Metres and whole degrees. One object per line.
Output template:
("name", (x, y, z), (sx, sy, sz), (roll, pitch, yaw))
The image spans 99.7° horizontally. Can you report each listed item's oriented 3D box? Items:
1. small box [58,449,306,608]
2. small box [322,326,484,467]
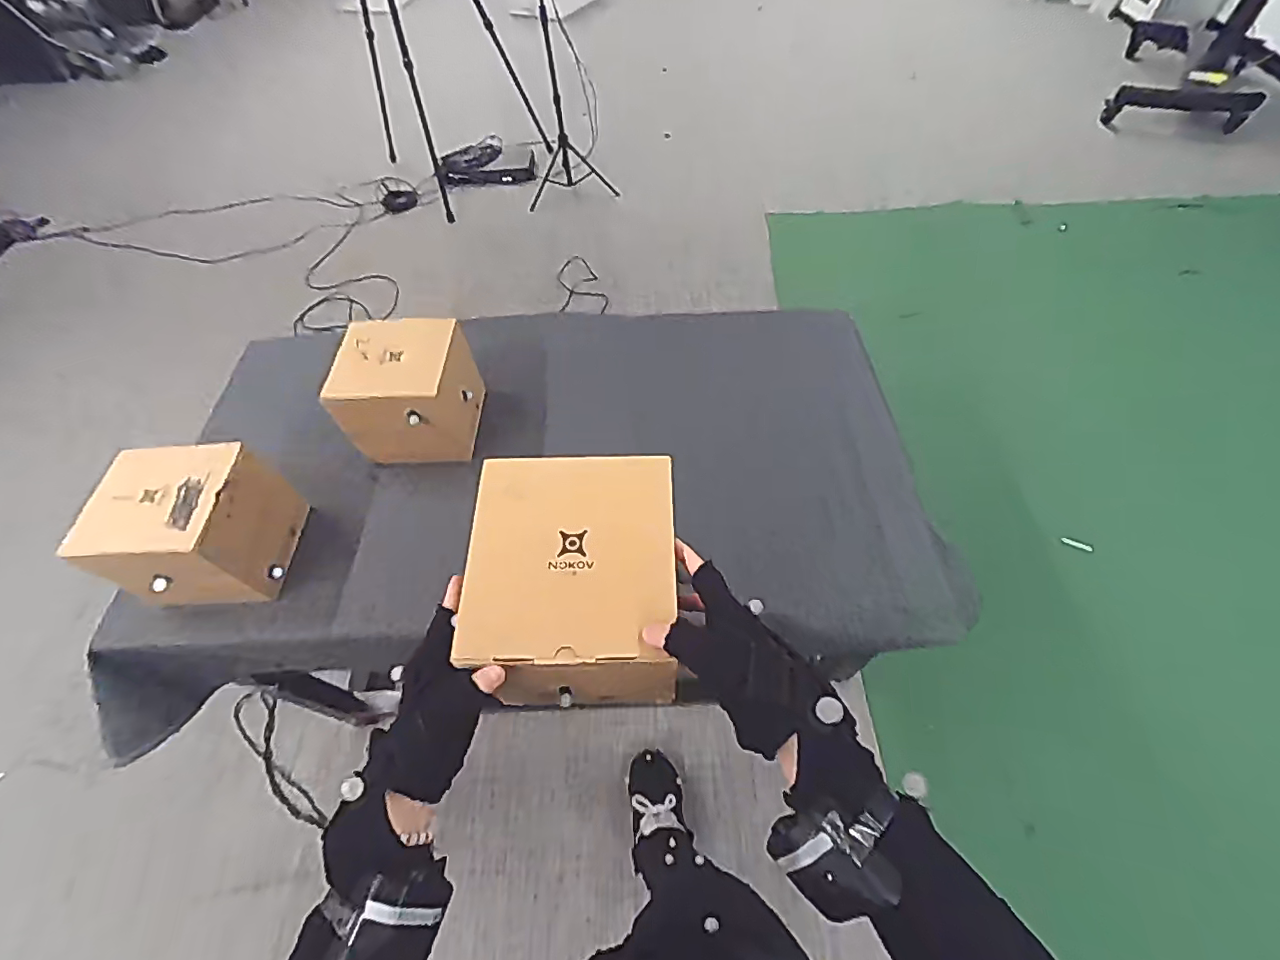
("small box", (-0.617, 0.073, 0.763), (0.179, 0.176, 0.168), (-3, 55, 2))
("small box", (-0.370, -0.133, 0.889), (0.179, 0.176, 0.168), (-1, 57, 2))
